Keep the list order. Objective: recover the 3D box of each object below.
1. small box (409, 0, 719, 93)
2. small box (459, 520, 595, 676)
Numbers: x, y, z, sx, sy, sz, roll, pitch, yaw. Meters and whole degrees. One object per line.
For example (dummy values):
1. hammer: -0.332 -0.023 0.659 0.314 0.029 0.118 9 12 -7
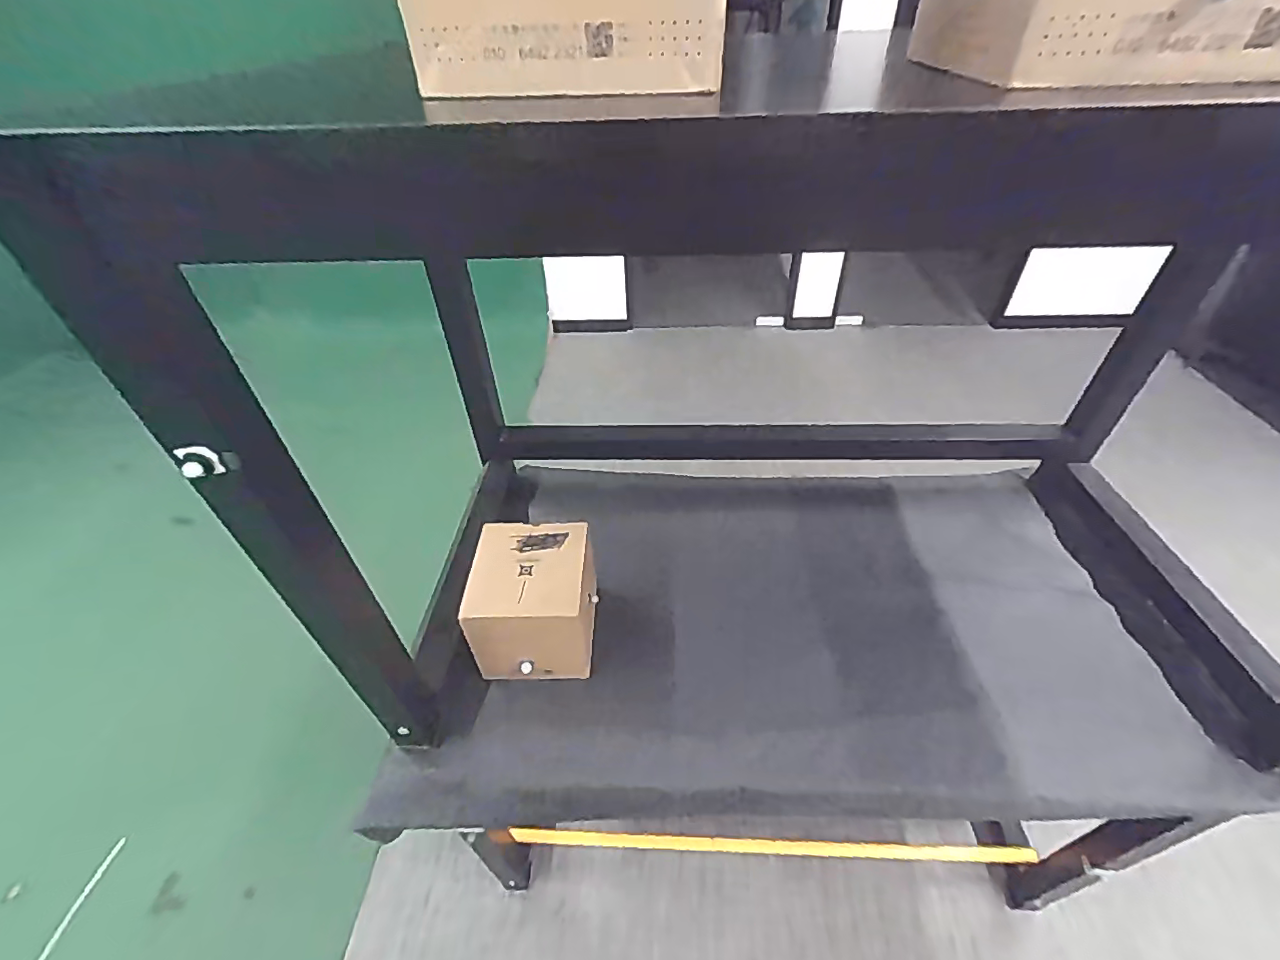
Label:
1. small box: -0.036 -0.330 0.308 0.168 0.176 0.179 3 41 6
2. small box: -0.160 0.180 0.836 0.168 0.176 0.179 -1 42 1
